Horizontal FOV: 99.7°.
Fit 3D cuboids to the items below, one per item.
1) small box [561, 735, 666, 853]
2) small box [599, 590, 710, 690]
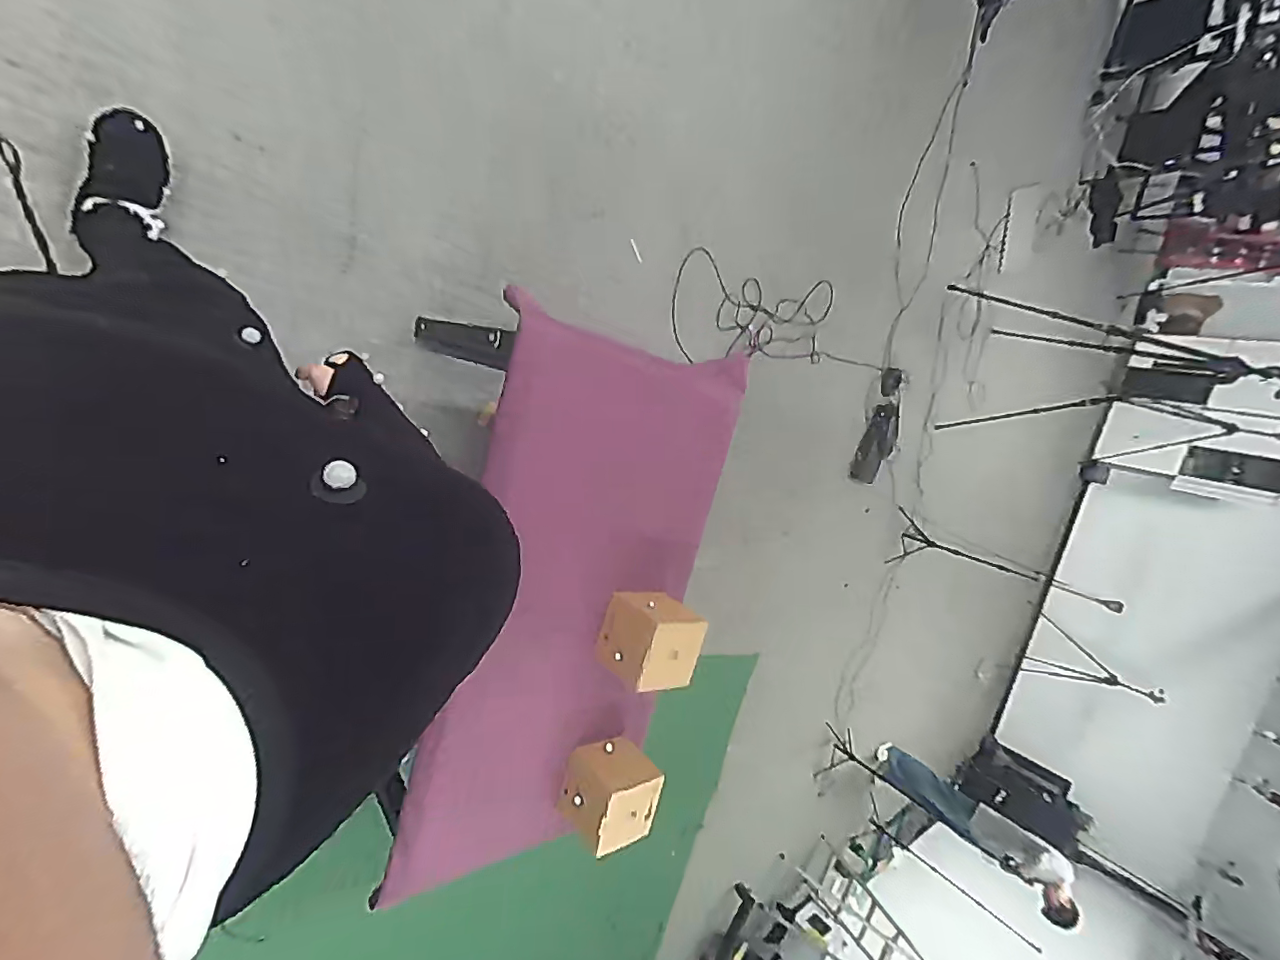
[{"bbox_3d":[-0.070,0.763,1.334,0.179,0.176,0.168,9,99,-42],"label":"small box"},{"bbox_3d":[0.029,0.371,1.278,0.179,0.176,0.168,12,98,-43],"label":"small box"}]
